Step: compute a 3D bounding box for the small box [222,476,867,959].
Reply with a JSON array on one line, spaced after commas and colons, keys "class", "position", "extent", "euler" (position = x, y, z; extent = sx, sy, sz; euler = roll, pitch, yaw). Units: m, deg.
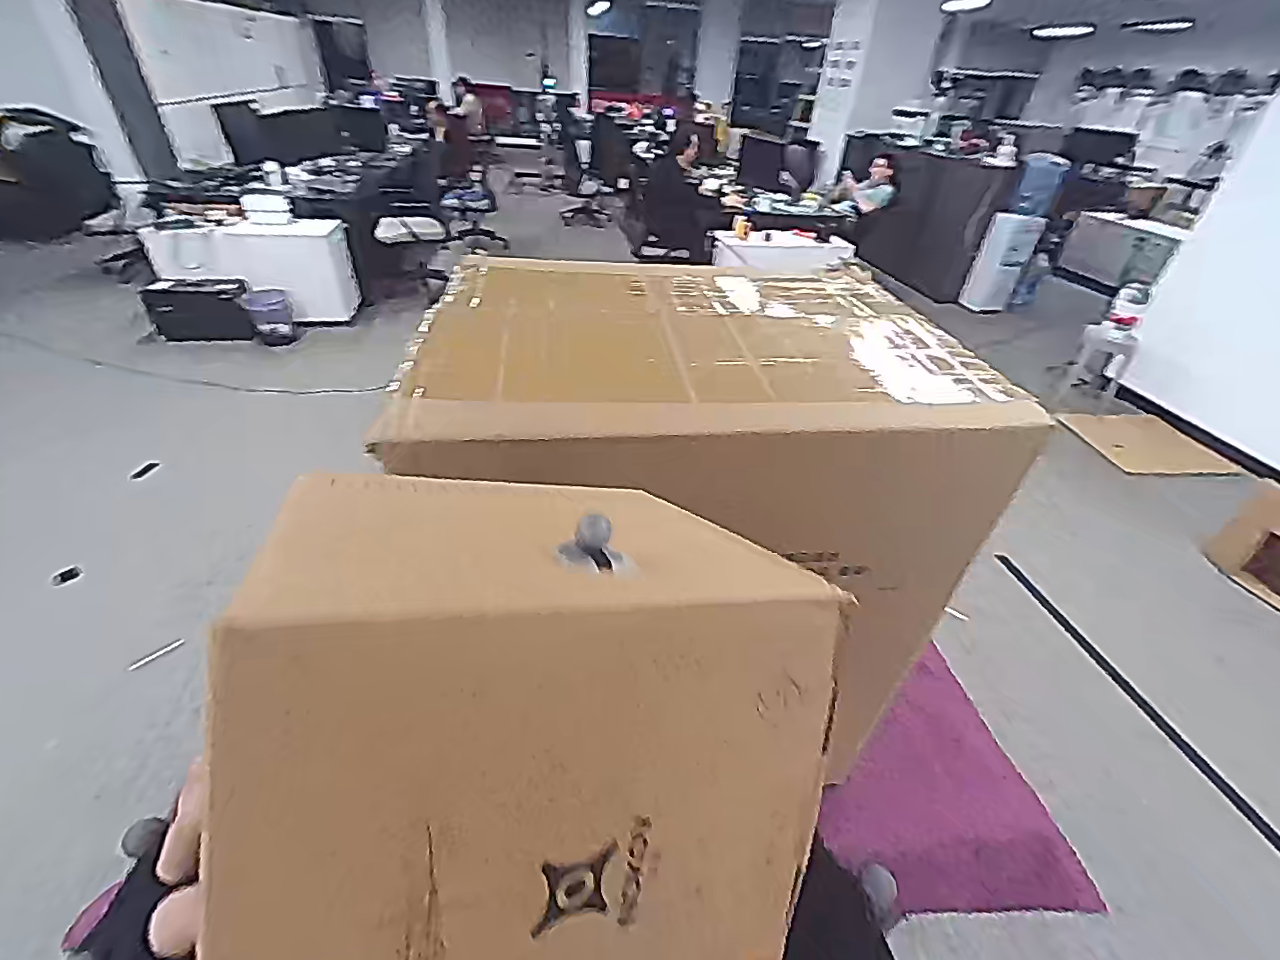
[{"class": "small box", "position": [-0.047, 0.095, 0.223], "extent": [0.179, 0.168, 0.176], "euler": [4, 9, -27]}]
